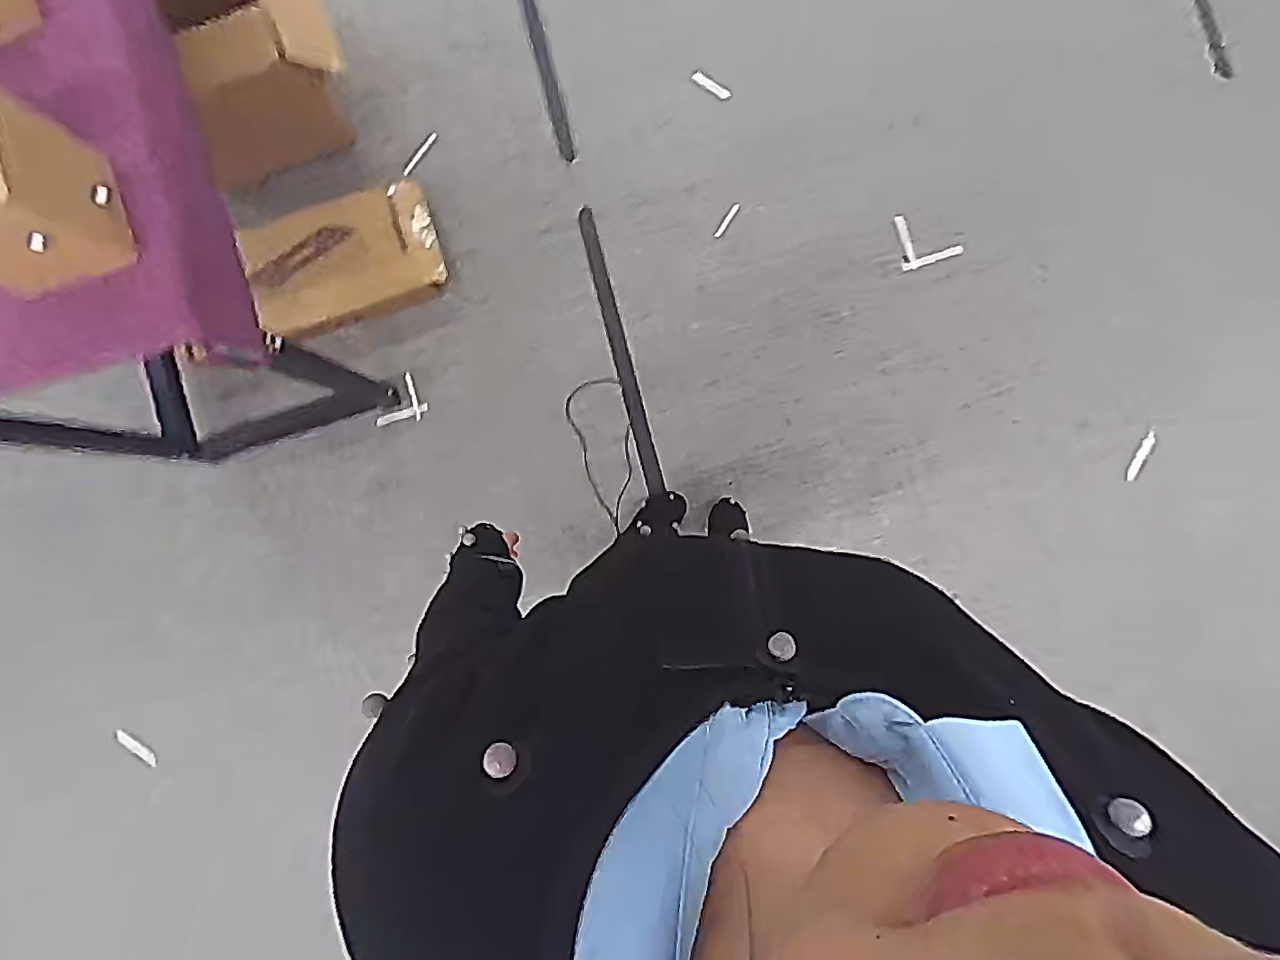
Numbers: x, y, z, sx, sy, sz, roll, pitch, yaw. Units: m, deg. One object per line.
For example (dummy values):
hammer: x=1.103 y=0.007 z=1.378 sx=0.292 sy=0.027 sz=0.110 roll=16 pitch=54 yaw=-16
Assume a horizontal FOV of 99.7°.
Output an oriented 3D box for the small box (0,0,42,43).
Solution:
small box: x=-1.006 y=-0.746 z=0.744 sx=0.168 sy=0.176 sz=0.179 roll=-18 pitch=88 yaw=3
